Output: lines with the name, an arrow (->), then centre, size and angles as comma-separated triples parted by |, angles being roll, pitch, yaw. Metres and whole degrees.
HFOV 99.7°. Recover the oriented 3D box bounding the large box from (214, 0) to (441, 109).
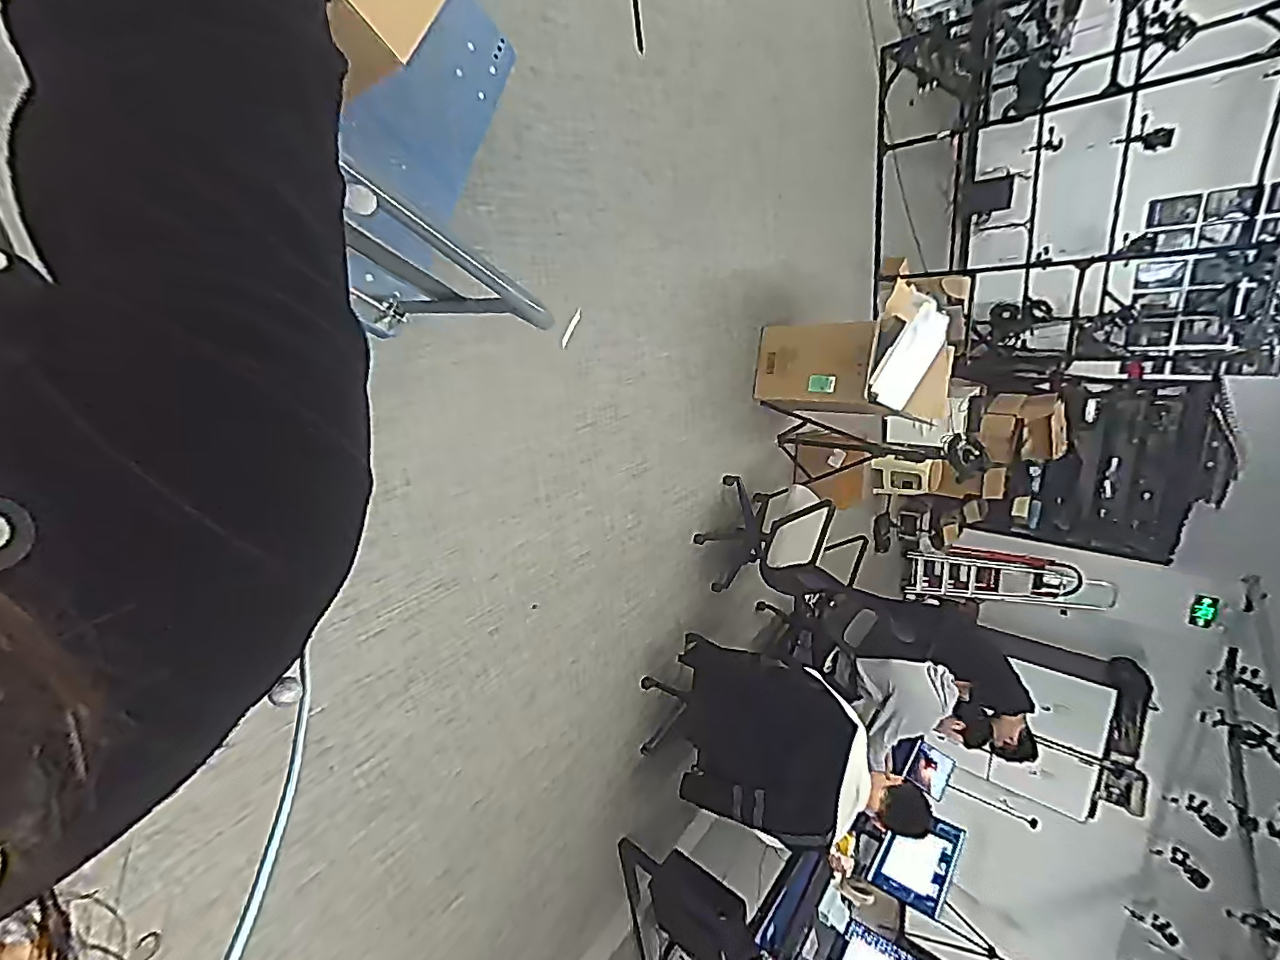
large box -> -0.552, -1.003, 0.990 | 0.320, 0.320, 0.408 | 35, 71, -48
